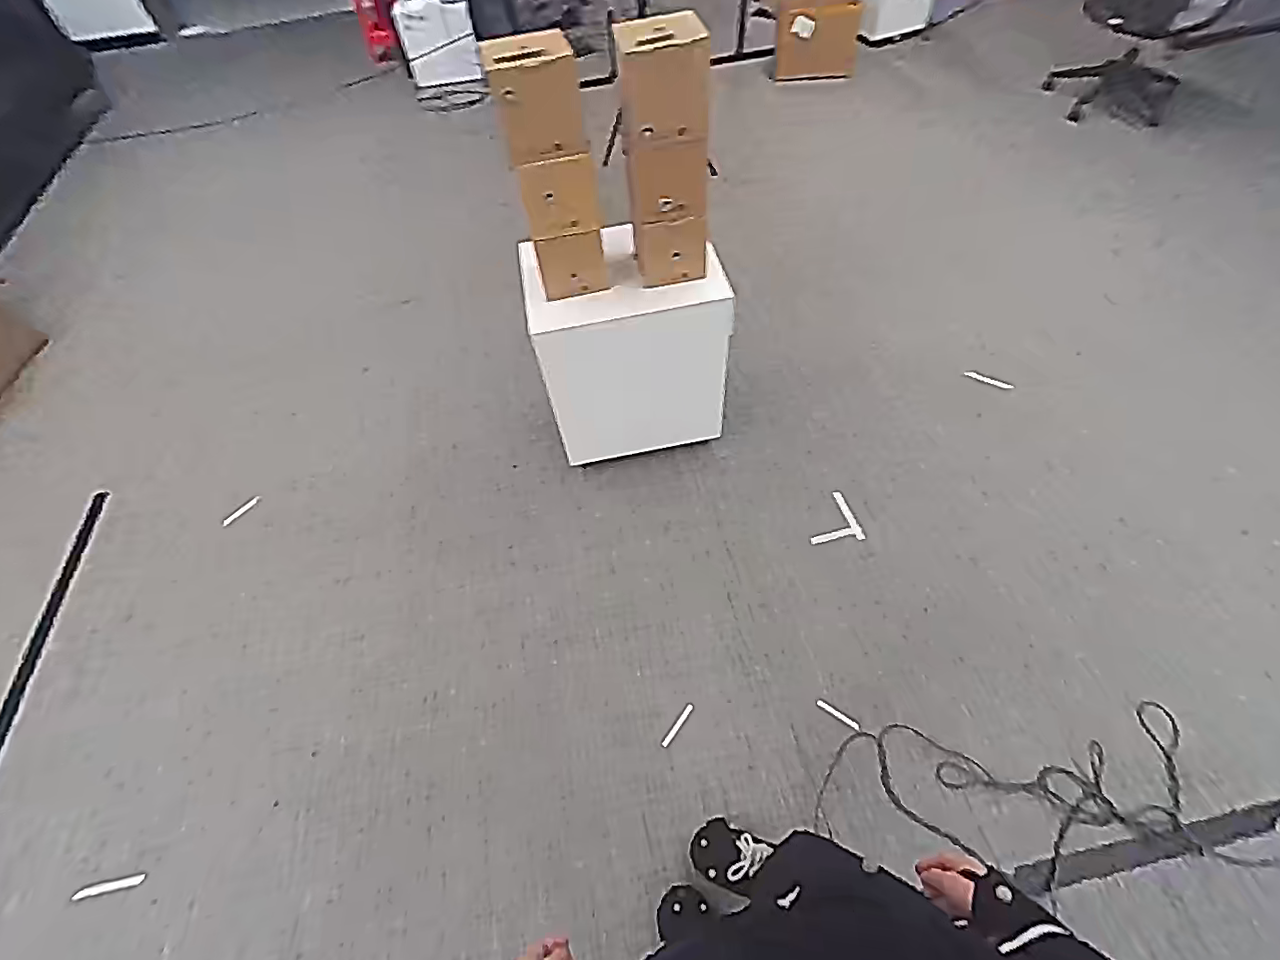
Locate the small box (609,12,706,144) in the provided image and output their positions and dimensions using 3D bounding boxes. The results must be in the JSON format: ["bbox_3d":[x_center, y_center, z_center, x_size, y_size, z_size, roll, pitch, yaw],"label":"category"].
[{"bbox_3d":[0.038,-0.807,1.098,0.168,0.176,0.179,-10,54,0],"label":"small box"}]

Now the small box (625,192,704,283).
[{"bbox_3d":[0.065,-0.618,1.365,0.168,0.176,0.179,-11,57,-1],"label":"small box"}]

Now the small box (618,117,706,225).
[{"bbox_3d":[0.050,-0.717,1.235,0.168,0.176,0.179,-12,56,-1],"label":"small box"}]

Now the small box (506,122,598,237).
[{"bbox_3d":[-0.197,-0.674,1.228,0.168,0.176,0.179,-12,55,-4],"label":"small box"}]
